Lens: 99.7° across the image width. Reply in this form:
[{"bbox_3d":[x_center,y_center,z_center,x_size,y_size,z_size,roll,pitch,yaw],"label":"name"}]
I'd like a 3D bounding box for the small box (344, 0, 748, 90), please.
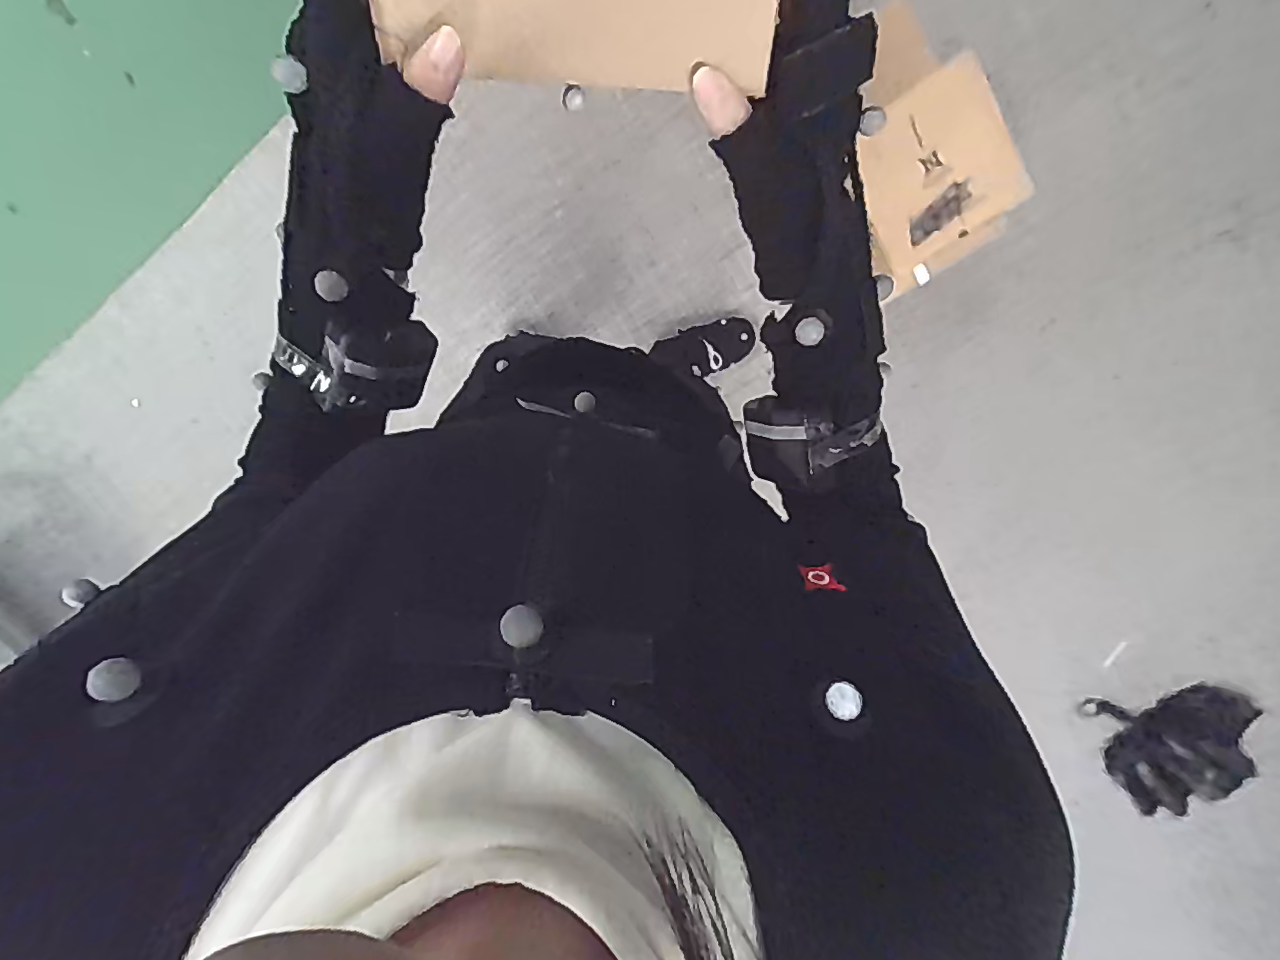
[{"bbox_3d":[-0.034,-0.295,0.254,0.179,0.176,0.168,3,131,2],"label":"small box"}]

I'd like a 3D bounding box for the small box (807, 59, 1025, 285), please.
[{"bbox_3d":[0.342,-0.381,0.701,0.168,0.176,0.179,-33,106,18],"label":"small box"}]
